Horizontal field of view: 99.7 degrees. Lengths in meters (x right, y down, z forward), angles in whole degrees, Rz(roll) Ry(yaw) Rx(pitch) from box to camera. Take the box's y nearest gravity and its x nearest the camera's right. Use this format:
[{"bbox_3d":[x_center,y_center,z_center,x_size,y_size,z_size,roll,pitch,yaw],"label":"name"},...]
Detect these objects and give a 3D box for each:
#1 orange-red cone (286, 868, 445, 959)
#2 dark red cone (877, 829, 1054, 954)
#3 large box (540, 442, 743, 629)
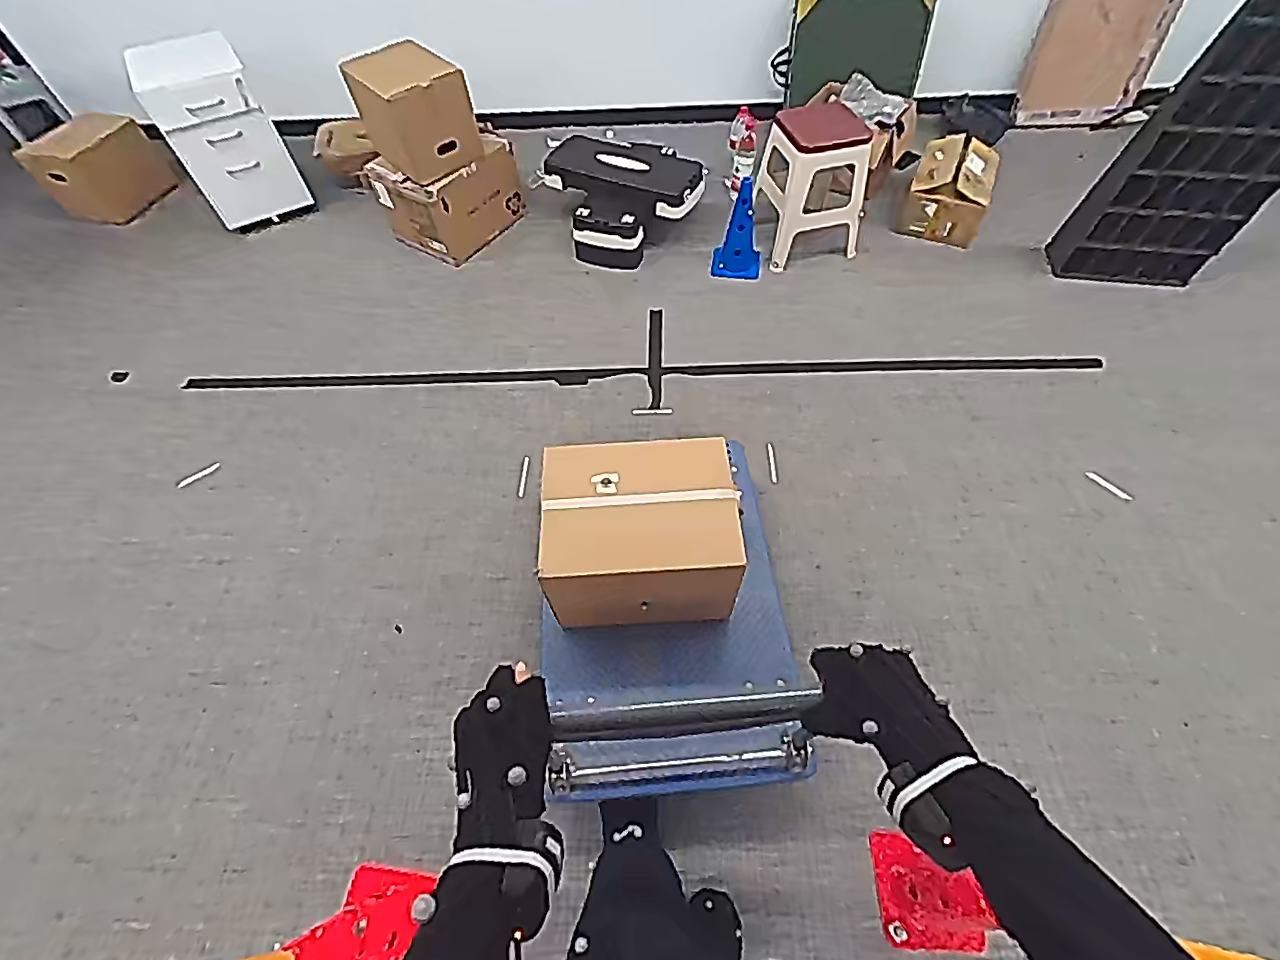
[{"bbox_3d":[-0.530,0.842,0.984,0.198,0.360,0.199,6,55,6],"label":"orange-red cone"},{"bbox_3d":[0.600,0.745,0.969,0.201,0.394,0.202,0,57,1],"label":"dark red cone"},{"bbox_3d":[0.002,0.138,1.250,0.408,0.320,0.320,-4,56,0],"label":"large box"}]
